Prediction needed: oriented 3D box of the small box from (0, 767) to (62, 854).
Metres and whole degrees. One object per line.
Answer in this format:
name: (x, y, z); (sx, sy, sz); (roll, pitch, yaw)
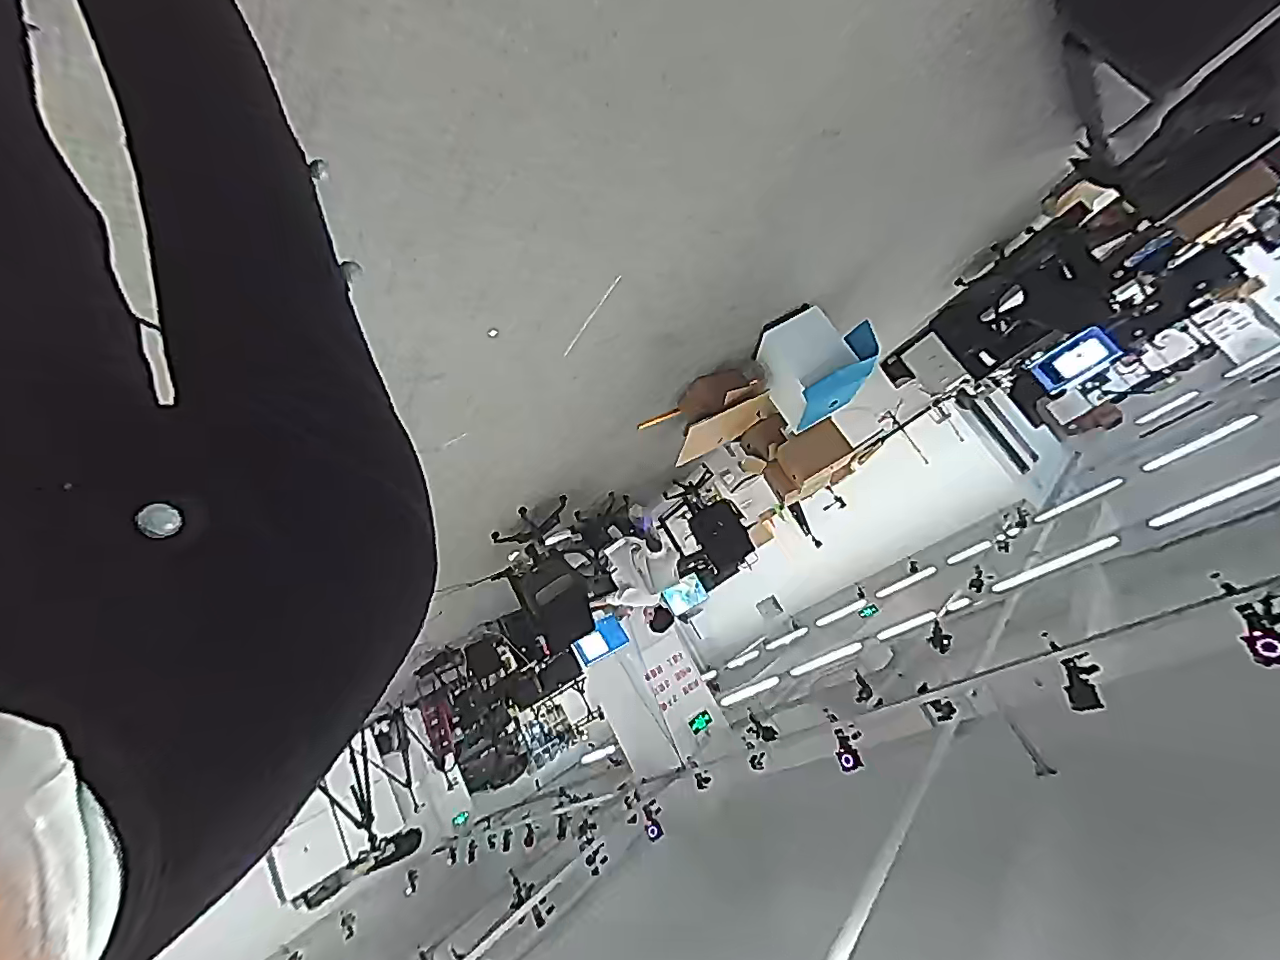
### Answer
small box: (-1.808, 0.959, 1.558); (0.168, 0.176, 0.179); (-15, 158, -46)

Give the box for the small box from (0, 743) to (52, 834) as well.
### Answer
small box: (-1.629, 0.796, 1.369); (0.168, 0.176, 0.179); (-13, 158, -48)
